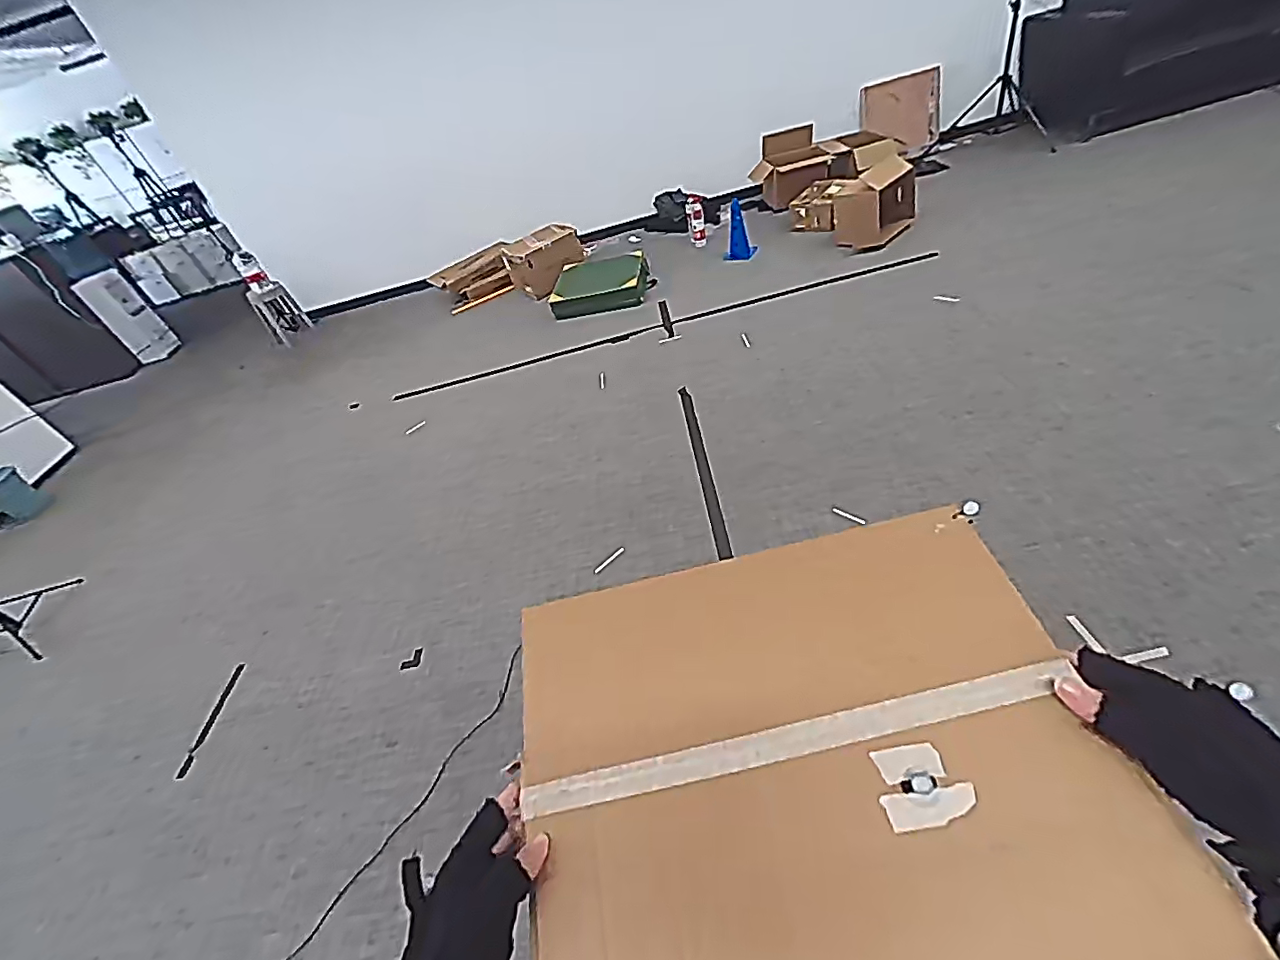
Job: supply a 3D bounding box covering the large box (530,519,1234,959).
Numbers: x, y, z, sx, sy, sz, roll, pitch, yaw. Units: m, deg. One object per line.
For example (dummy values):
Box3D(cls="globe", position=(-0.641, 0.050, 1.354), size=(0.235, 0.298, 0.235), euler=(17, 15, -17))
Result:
Box3D(cls="large box", position=(0.142, 0.291, 0.512), size=(0.408, 0.320, 0.320), euler=(-14, 50, 1))
